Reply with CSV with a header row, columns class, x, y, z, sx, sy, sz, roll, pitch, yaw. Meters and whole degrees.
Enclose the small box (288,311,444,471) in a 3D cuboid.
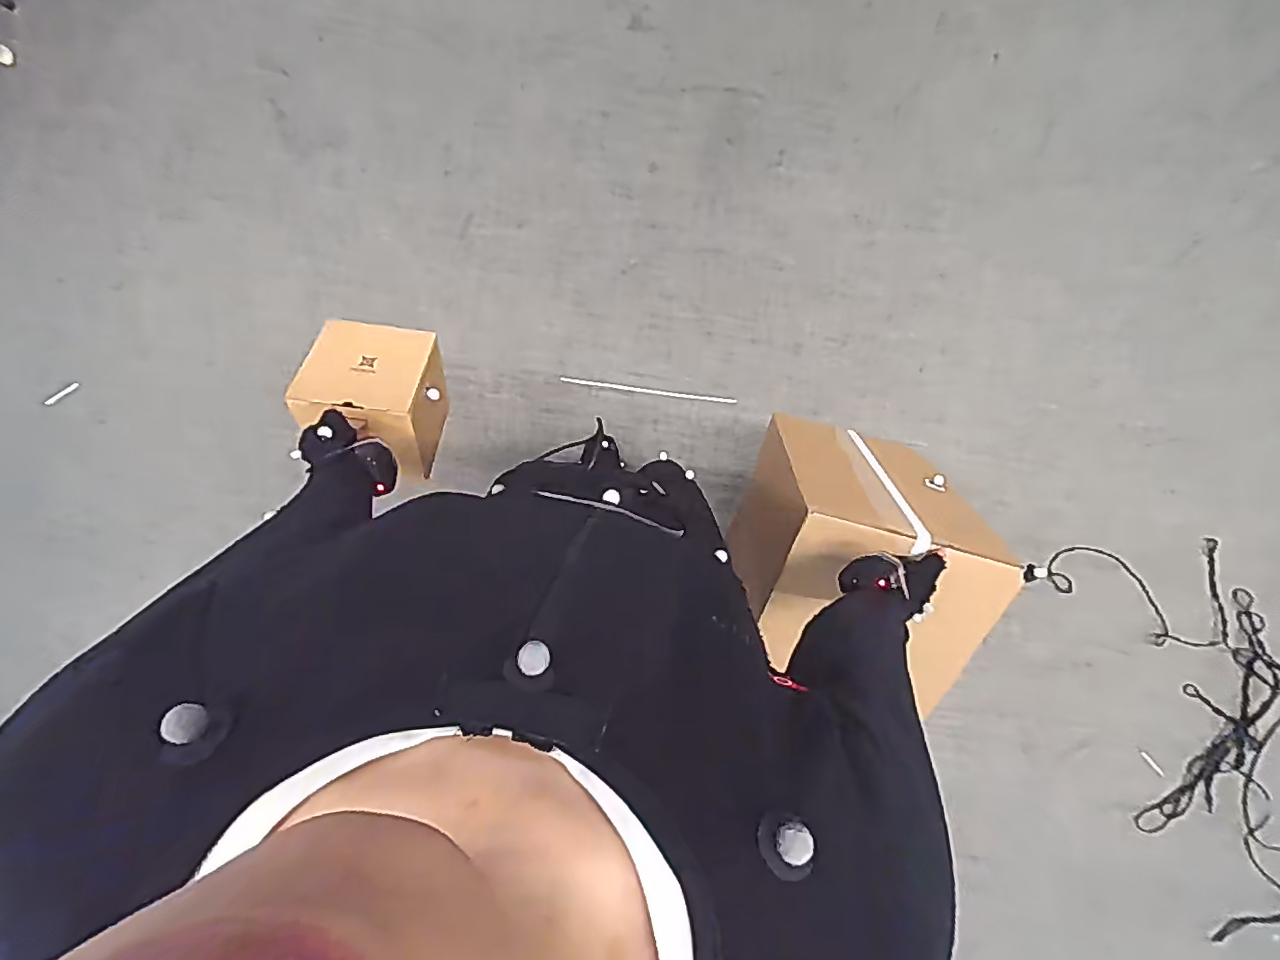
class,x,y,z,sx,sy,sz,roll,pitch,yaw
small box,-0.420,-0.138,0.866,0.168,0.176,0.179,6,56,-8
